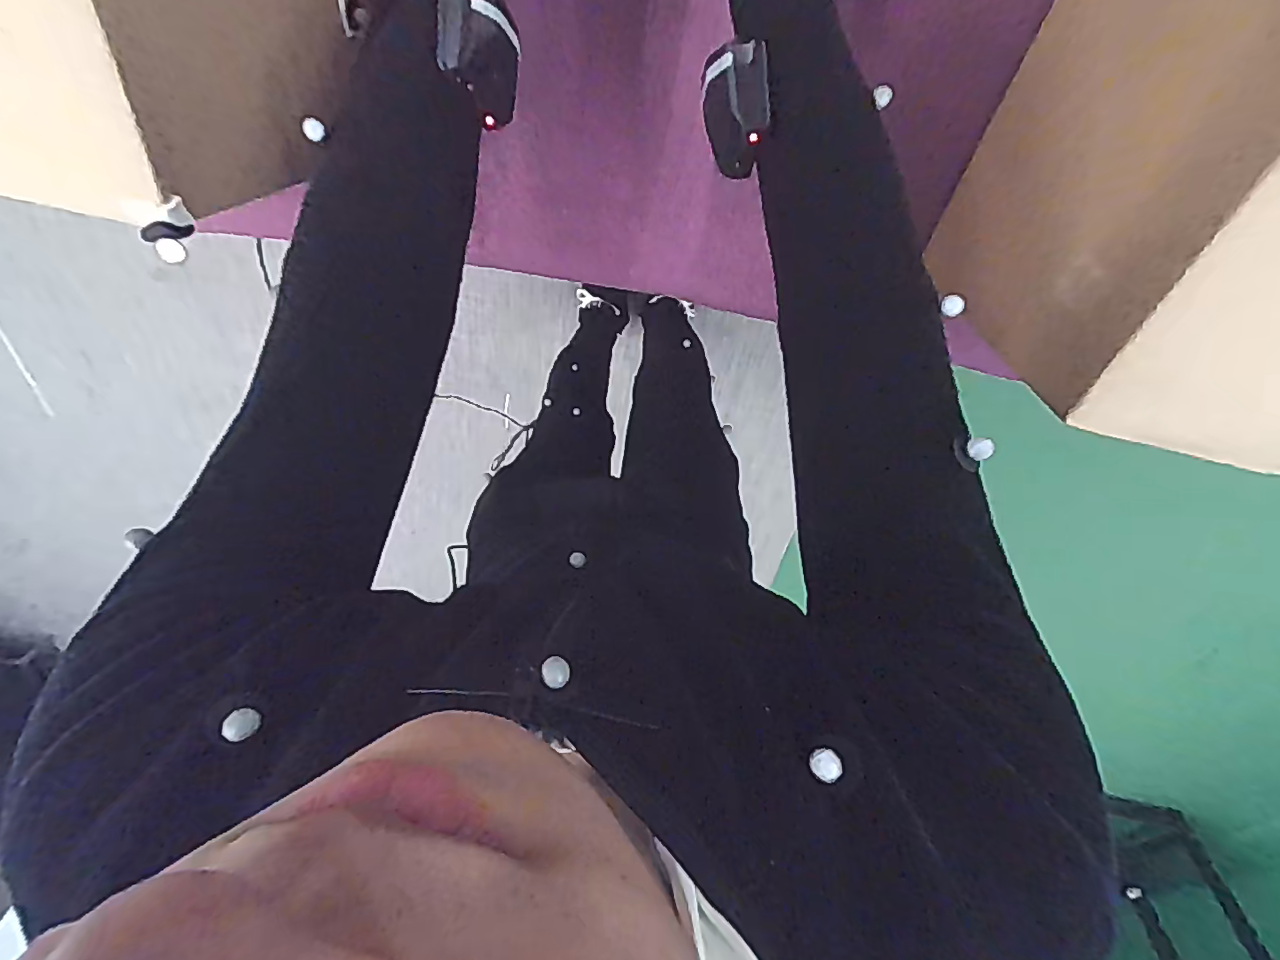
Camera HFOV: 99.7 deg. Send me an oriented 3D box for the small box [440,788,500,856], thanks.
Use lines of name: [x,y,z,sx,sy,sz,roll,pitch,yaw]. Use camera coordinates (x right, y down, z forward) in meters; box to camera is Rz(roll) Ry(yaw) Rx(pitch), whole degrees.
small box: [-0.619,1.263,1.988,0.168,0.176,0.179,8,130,-2]

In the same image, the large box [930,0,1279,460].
large box: [0.477,-0.257,0.350,0.320,0.320,0.408,12,130,-3]
